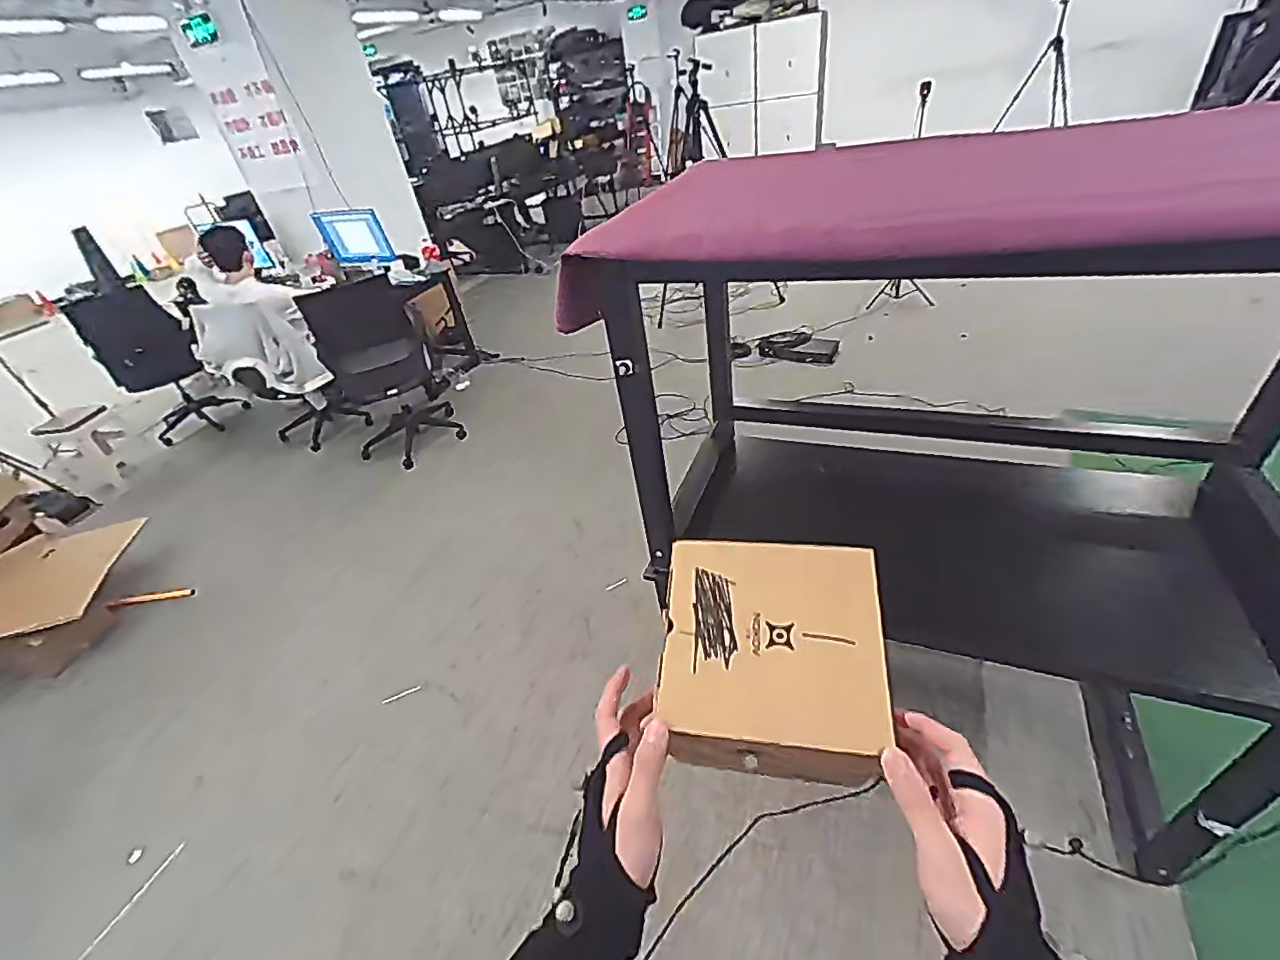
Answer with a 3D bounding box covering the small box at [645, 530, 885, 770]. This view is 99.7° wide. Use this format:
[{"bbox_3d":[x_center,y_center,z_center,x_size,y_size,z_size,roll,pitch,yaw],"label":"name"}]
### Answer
[{"bbox_3d":[0.113,0.160,0.502,0.179,0.176,0.168,1,56,13],"label":"small box"}]
